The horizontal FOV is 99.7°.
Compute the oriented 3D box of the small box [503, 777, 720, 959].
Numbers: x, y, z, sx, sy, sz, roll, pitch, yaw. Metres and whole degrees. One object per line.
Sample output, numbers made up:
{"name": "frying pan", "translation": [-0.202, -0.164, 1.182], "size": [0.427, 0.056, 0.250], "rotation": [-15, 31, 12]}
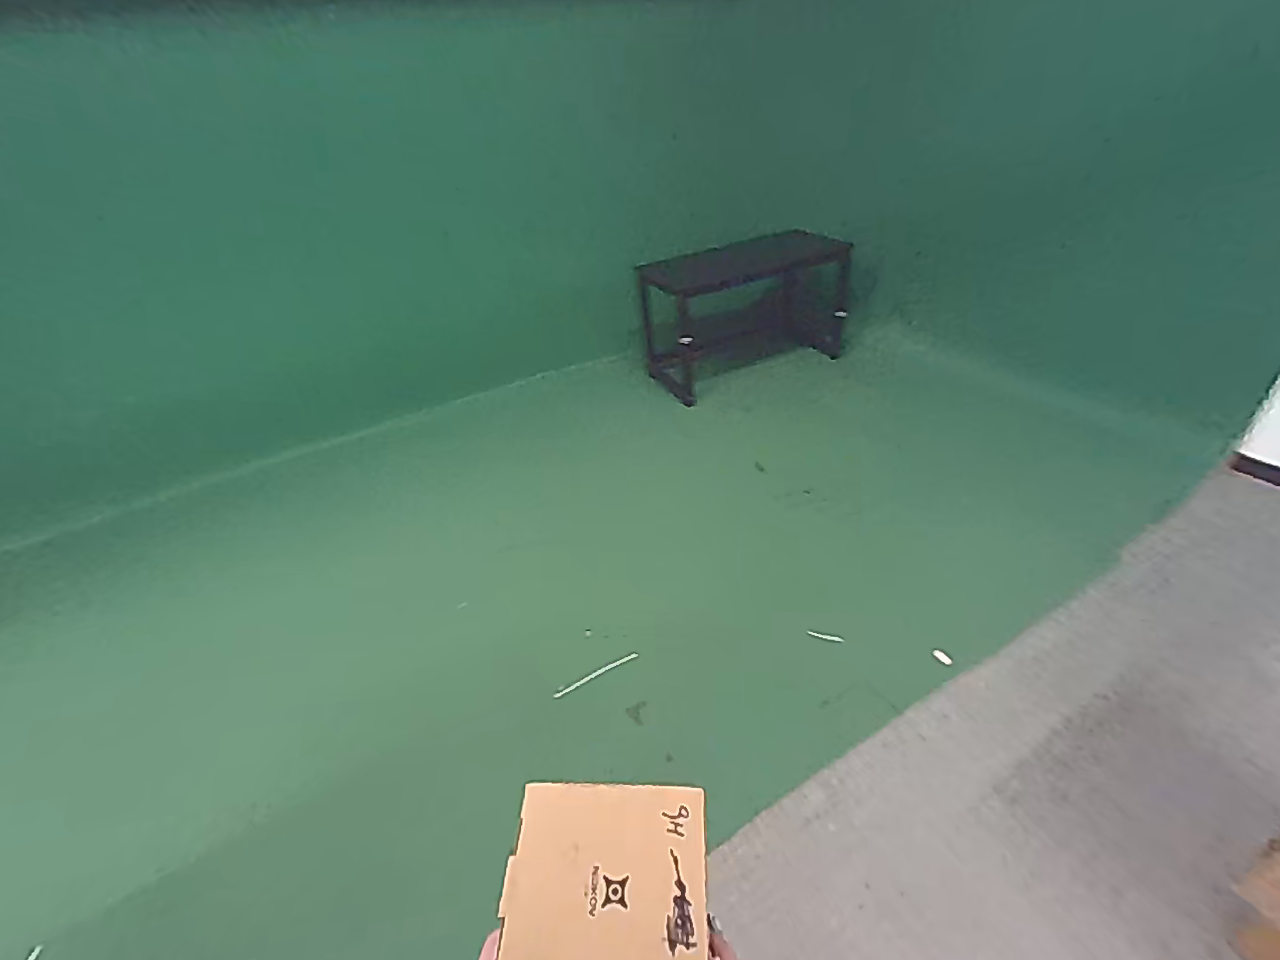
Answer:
{"name": "small box", "translation": [-0.013, 0.406, 0.525], "size": [0.179, 0.176, 0.168], "rotation": [-1, 47, 7]}
